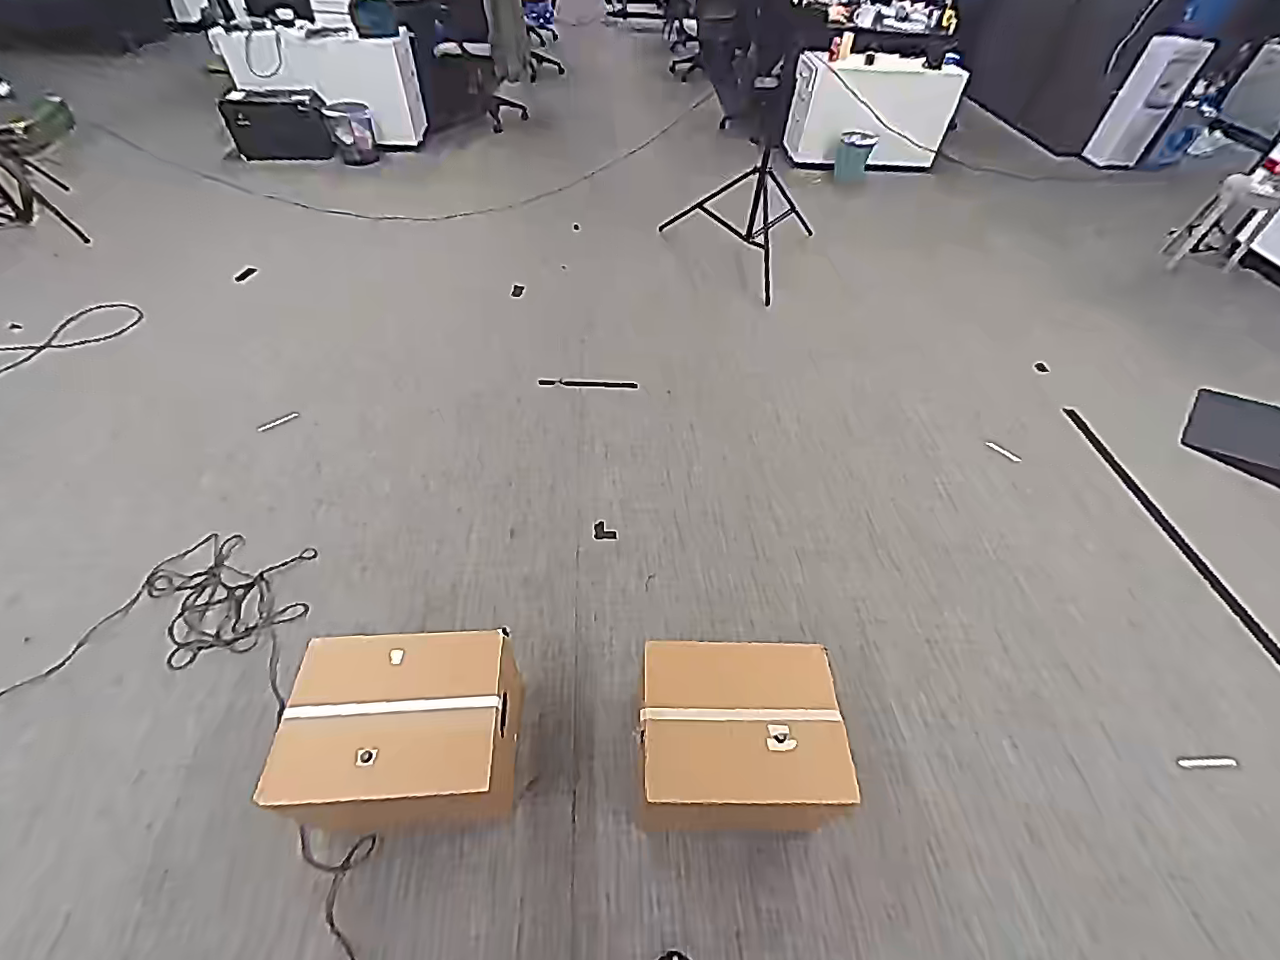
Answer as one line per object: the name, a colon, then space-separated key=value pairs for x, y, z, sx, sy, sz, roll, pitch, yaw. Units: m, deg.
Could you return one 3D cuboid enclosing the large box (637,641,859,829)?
large box: x=0.204 y=0.576 z=1.215 sx=0.408 sy=0.320 sz=0.320 roll=2 pitch=49 yaw=-3
